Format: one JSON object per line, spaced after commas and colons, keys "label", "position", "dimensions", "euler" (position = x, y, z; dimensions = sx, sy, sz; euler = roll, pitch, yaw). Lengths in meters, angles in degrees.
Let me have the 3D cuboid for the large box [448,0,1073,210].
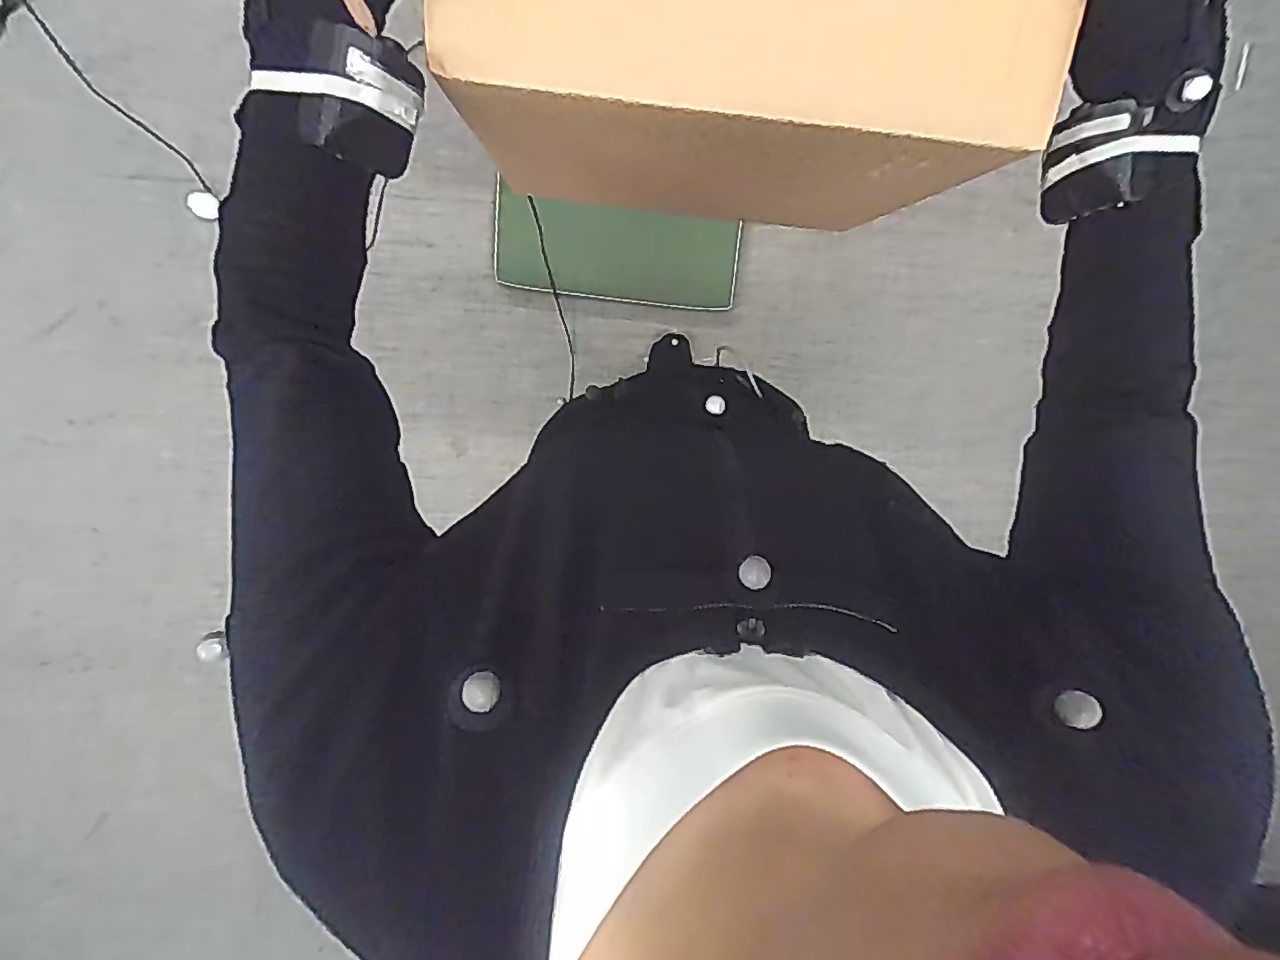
{"label": "large box", "position": [0.075, -0.438, 0.452], "dimensions": [0.408, 0.320, 0.320], "euler": [3, 106, -6]}
